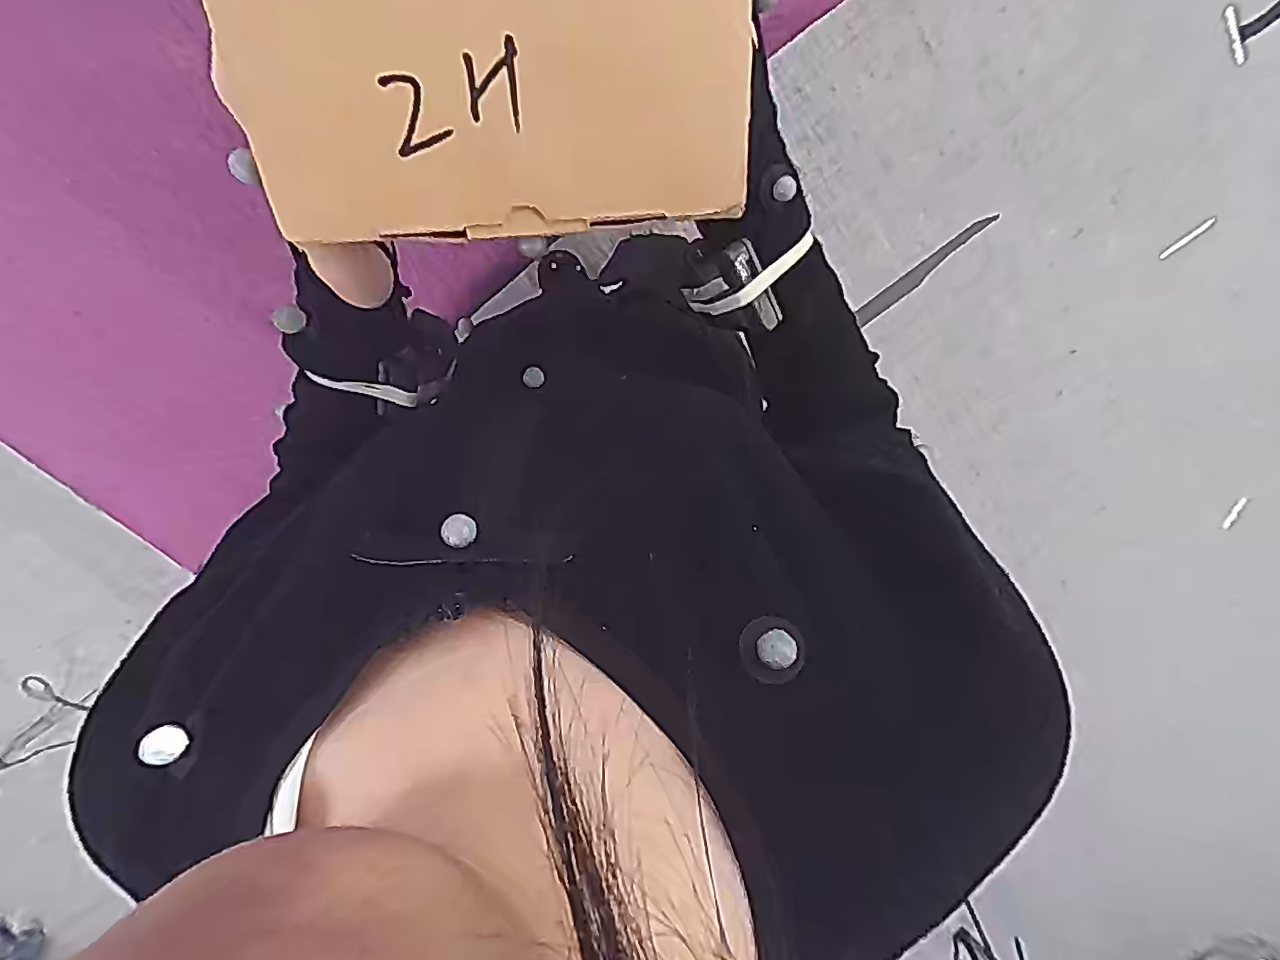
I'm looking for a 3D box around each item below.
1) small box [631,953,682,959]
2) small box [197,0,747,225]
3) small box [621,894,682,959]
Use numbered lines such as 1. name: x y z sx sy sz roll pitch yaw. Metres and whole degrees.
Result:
1. small box: 0.047 1.576 1.629 0.168 0.176 0.179 8 112 -9
2. small box: -0.061 -0.206 0.224 0.168 0.176 0.179 -7 116 -7
3. small box: 0.032 1.510 1.778 0.168 0.176 0.179 8 111 -9
